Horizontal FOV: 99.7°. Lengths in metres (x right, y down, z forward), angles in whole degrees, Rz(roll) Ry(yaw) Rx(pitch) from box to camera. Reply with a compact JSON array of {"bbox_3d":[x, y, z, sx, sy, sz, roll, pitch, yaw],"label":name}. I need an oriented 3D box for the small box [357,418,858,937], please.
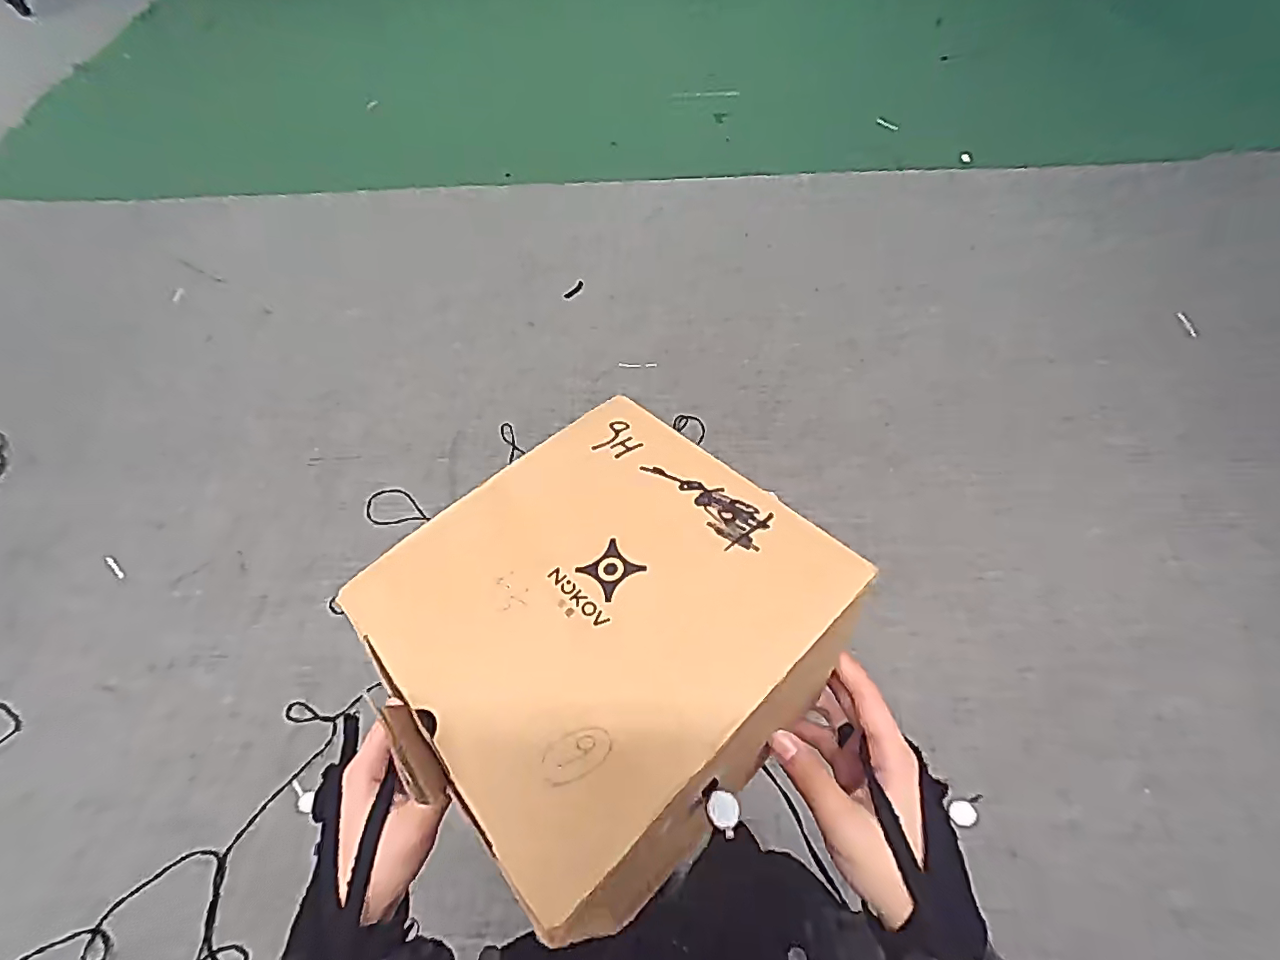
[{"bbox_3d":[-0.009,0.105,0.306,0.179,0.176,0.168,-39,57,-21],"label":"small box"}]
